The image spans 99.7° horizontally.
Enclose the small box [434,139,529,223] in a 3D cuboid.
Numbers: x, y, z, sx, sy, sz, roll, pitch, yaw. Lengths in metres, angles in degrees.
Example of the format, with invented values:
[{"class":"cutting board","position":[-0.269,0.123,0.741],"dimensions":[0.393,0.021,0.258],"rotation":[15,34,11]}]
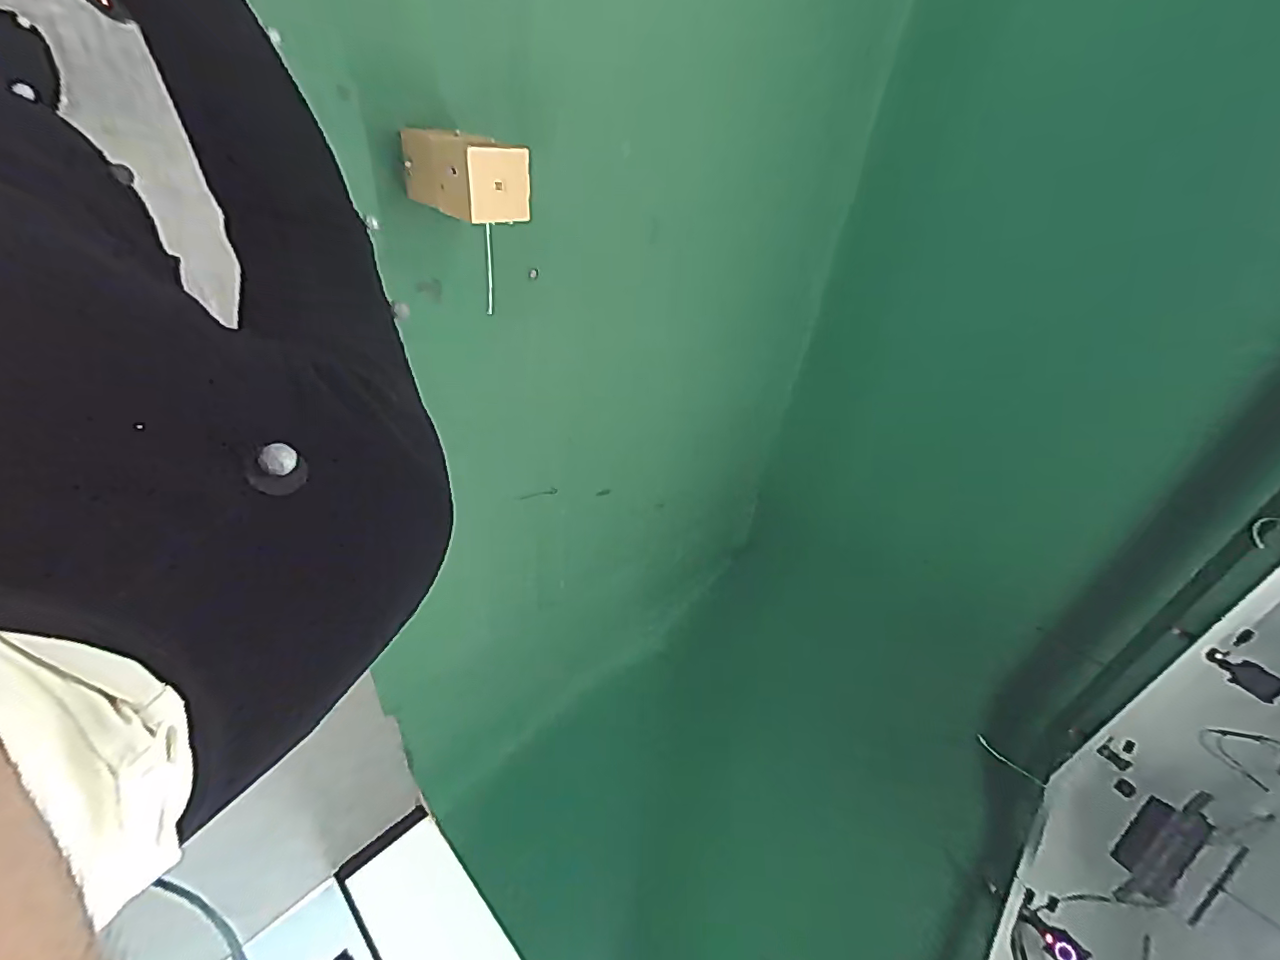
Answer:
[{"class":"small box","position":[-0.406,-0.764,1.379],"dimensions":[0.179,0.176,0.168],"rotation":[-28,137,-39]}]

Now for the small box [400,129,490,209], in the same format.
[{"class":"small box","position":[-0.520,-0.842,1.463],"dimensions":[0.179,0.176,0.168],"rotation":[-26,136,-38]}]
